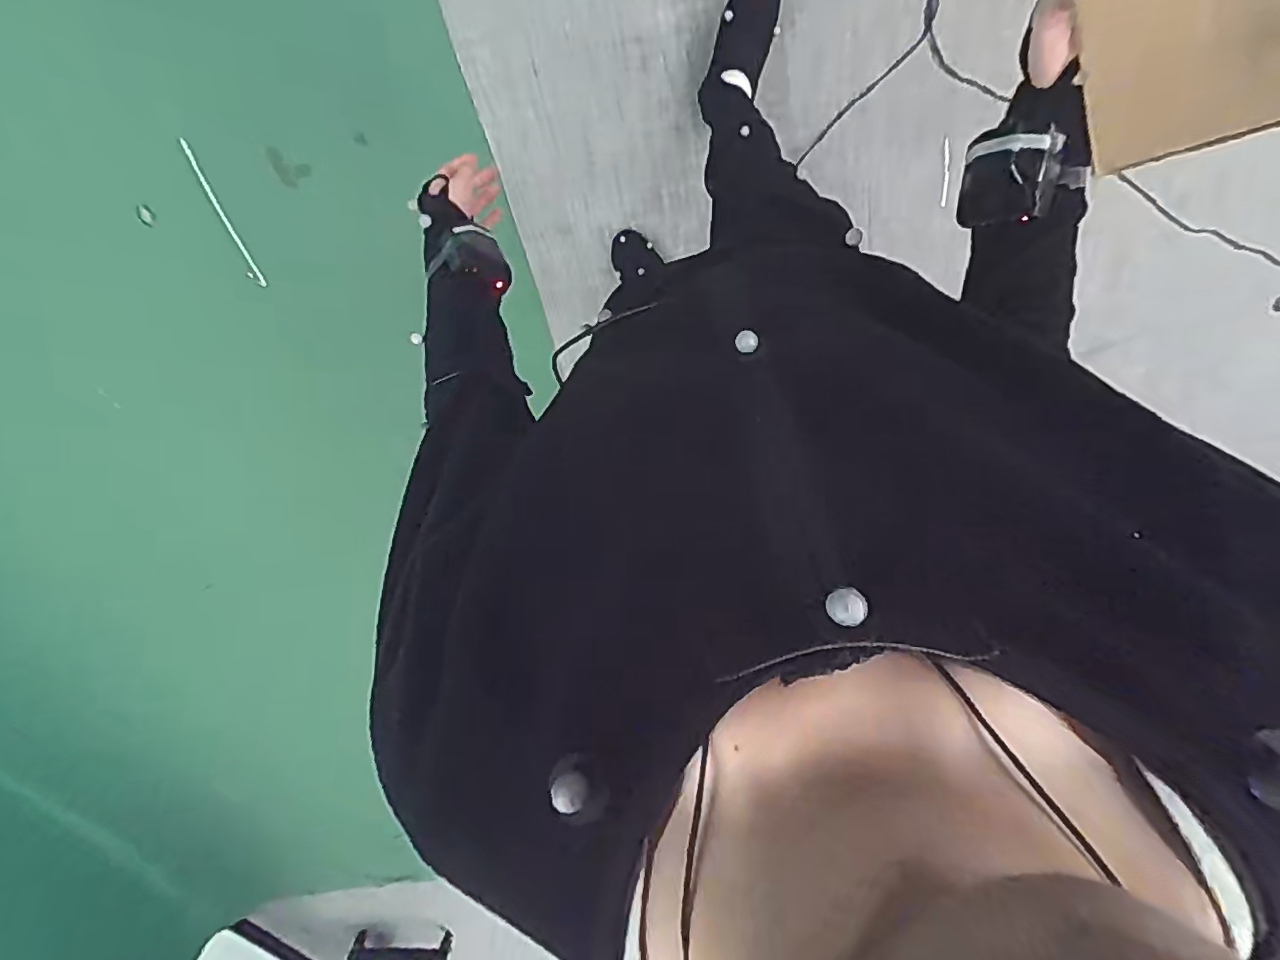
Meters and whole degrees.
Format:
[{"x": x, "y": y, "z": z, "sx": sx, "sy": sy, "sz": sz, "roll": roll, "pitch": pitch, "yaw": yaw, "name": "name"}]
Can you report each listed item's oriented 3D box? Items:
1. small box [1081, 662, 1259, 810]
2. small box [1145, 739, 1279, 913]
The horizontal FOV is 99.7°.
[{"x": 0.990, "y": 0.475, "z": 1.016, "sx": 0.179, "sy": 0.176, "sz": 0.168, "roll": -32, "pitch": 117, "yaw": 18, "name": "small box"}, {"x": 0.990, "y": 0.550, "z": 0.868, "sx": 0.168, "sy": 0.176, "sz": 0.179, "roll": 36, "pitch": 116, "yaw": -21, "name": "small box"}]
